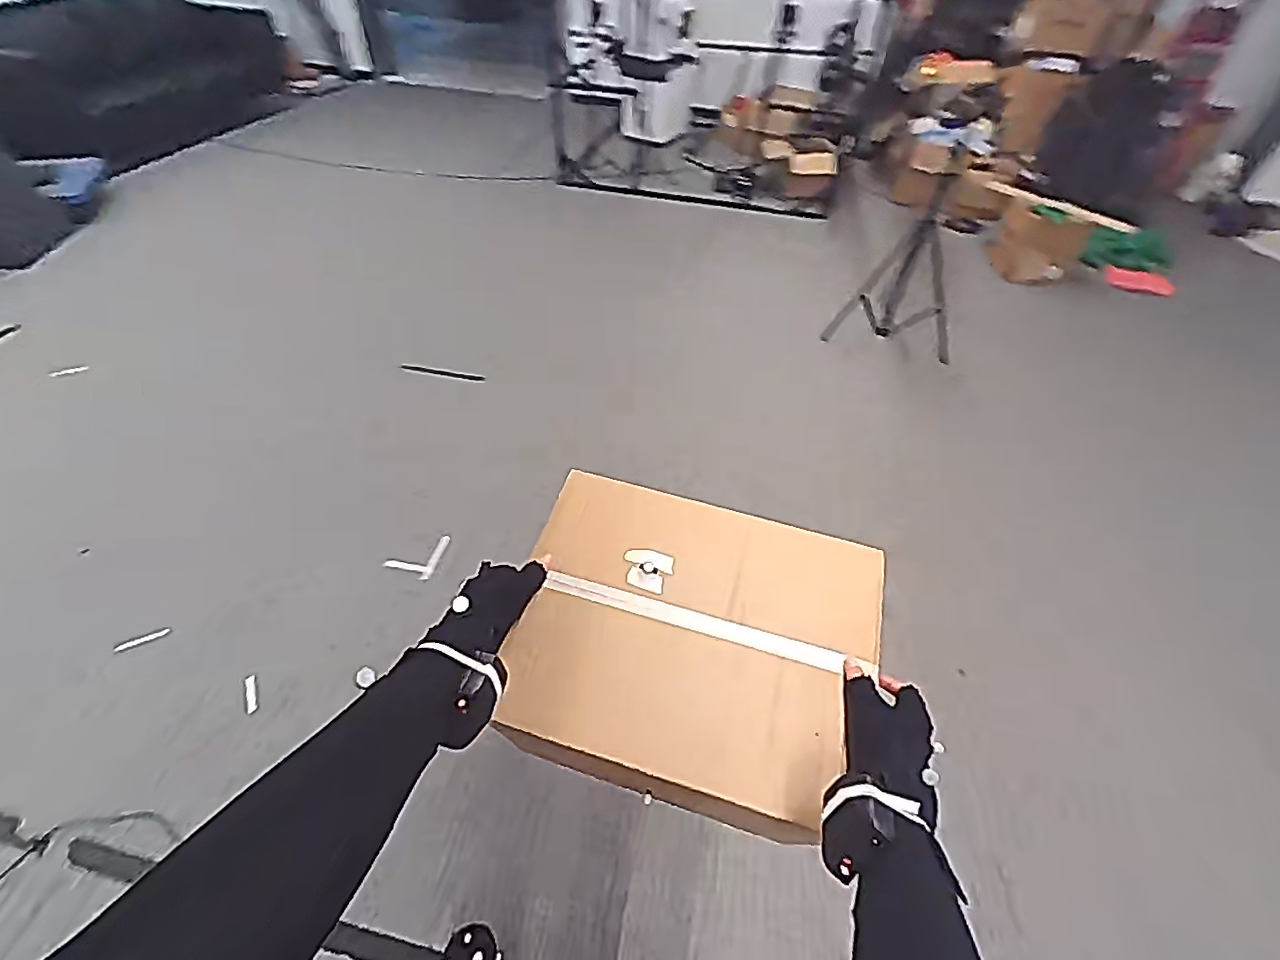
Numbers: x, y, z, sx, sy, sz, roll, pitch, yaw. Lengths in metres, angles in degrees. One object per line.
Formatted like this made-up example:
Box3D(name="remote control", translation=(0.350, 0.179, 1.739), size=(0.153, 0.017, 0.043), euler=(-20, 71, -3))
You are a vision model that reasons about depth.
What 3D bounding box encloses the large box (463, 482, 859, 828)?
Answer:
Box3D(name="large box", translation=(0.044, 0.247, 0.739), size=(0.408, 0.320, 0.320), euler=(13, 56, 8))
